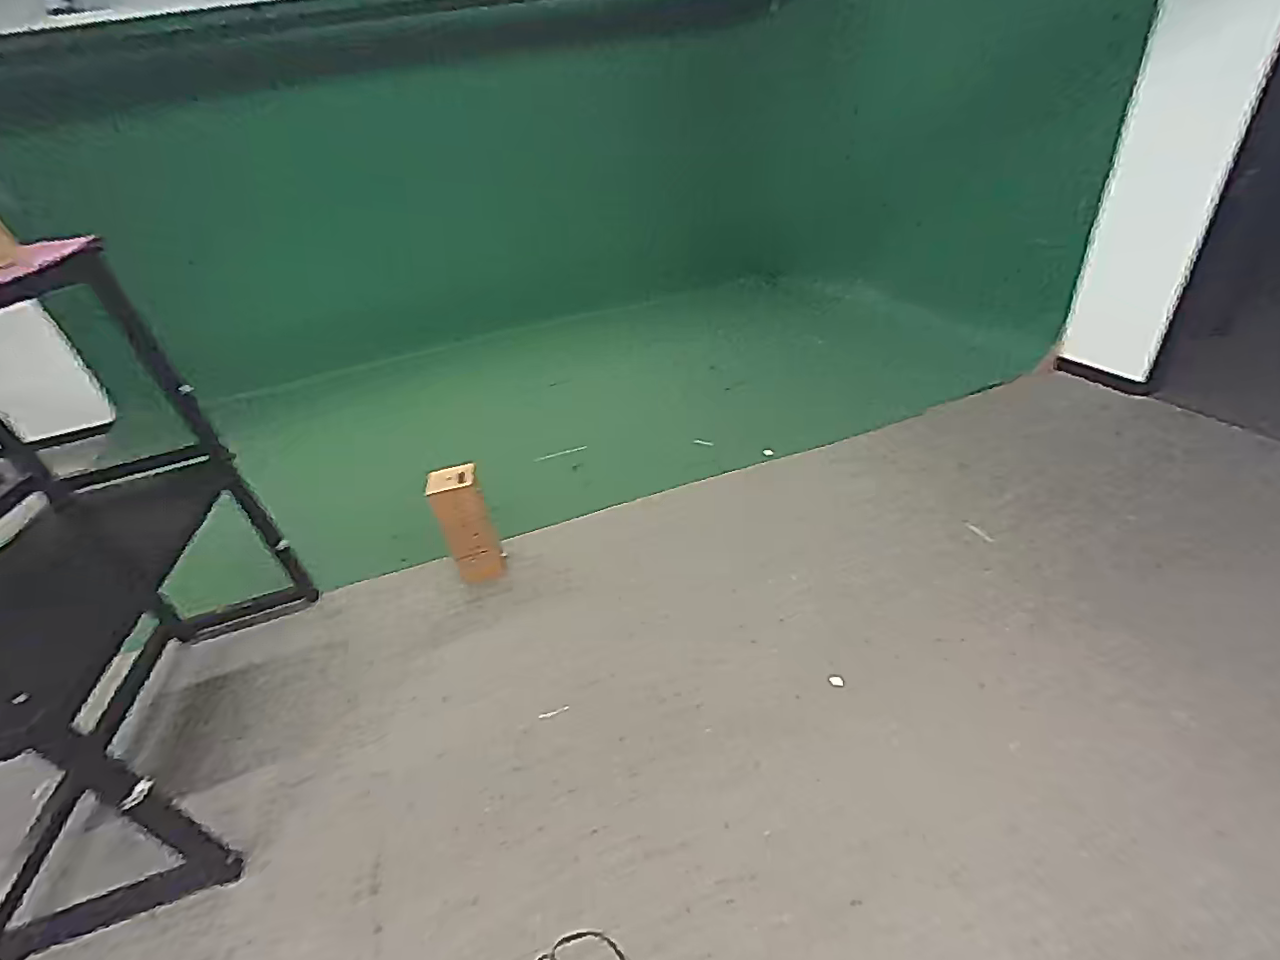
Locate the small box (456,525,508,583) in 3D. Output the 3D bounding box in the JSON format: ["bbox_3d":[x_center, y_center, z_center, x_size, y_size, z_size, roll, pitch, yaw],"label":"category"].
[{"bbox_3d":[-0.685,0.325,2.353,0.179,0.176,0.168,-14,34,-7],"label":"small box"}]

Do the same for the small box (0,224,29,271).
[{"bbox_3d":[-1.721,-0.594,1.345,0.179,0.176,0.168,-14,35,-3],"label":"small box"}]

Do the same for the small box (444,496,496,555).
[{"bbox_3d":[-0.707,0.196,2.258,0.168,0.176,0.179,-14,33,-8],"label":"small box"}]
